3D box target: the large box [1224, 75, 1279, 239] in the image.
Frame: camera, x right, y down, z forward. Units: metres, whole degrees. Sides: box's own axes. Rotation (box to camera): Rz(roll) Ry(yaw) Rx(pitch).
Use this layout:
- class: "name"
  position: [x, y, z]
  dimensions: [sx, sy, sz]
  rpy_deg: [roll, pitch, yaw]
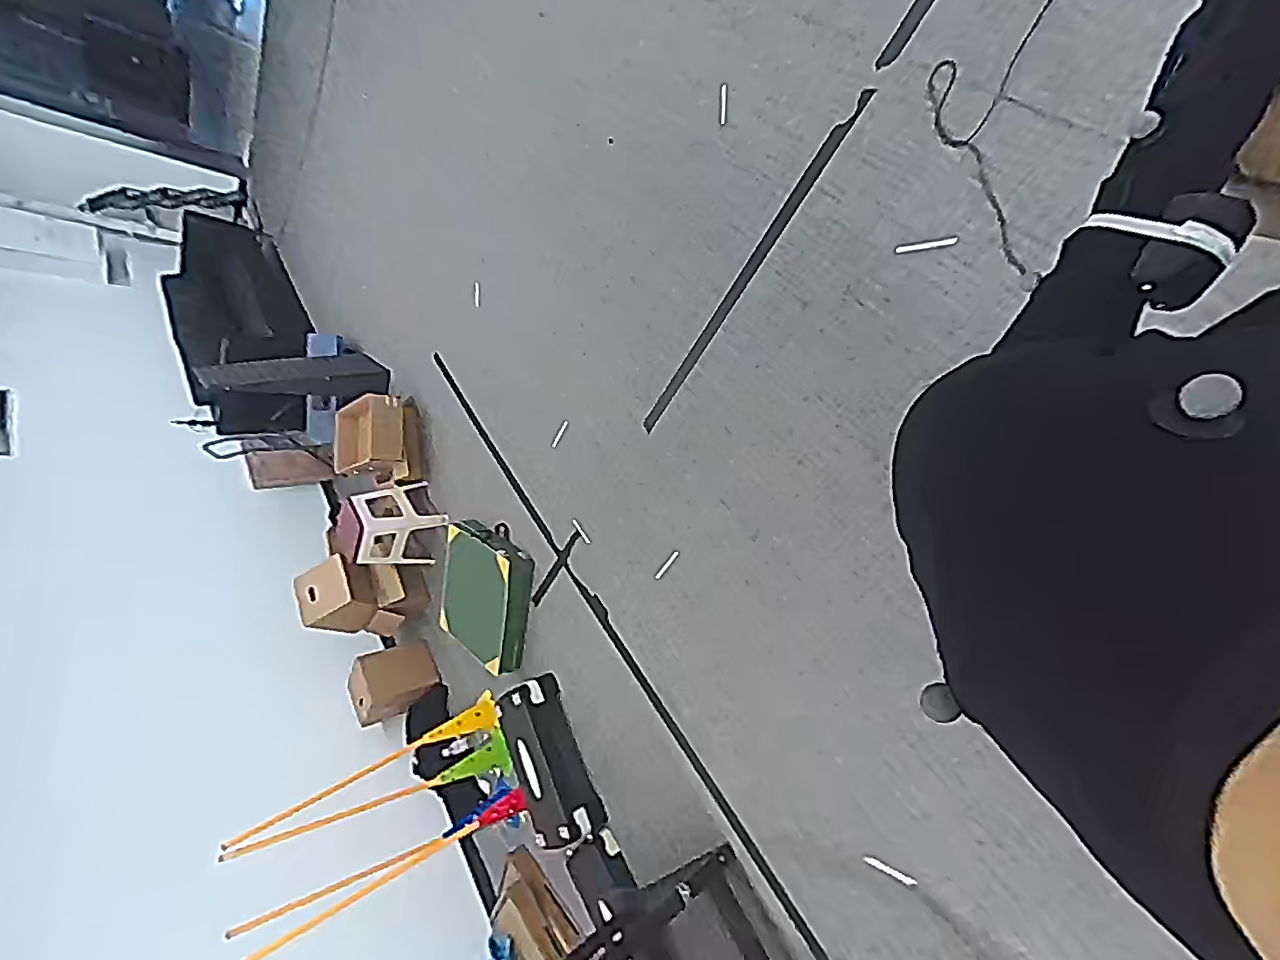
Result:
- class: "large box"
  position: [0.683, -0.281, 0.302]
  dimensions: [0.408, 0.320, 0.320]
  rpy_deg: [37, 127, 35]
